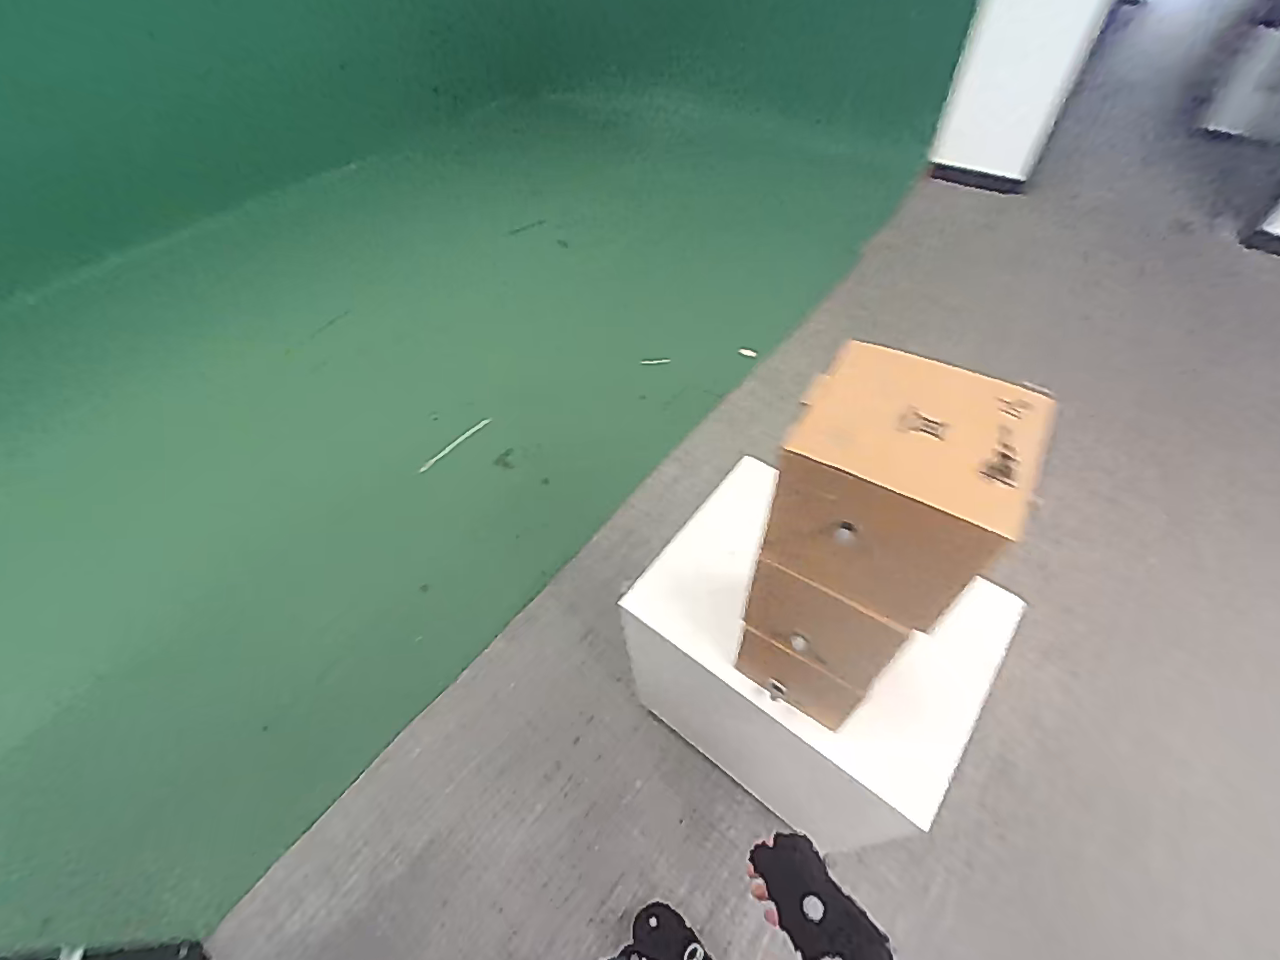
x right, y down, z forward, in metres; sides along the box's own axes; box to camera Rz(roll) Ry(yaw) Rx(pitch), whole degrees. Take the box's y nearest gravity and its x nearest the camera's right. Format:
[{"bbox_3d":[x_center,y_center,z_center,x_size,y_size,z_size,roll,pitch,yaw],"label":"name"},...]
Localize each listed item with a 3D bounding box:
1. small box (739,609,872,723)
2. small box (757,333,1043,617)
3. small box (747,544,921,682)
[{"bbox_3d":[0.246,0.203,0.754,0.168,0.176,0.179,26,60,24],"label":"small box"},{"bbox_3d":[0.222,-0.002,0.499,0.179,0.176,0.168,24,58,23],"label":"small box"},{"bbox_3d":[0.235,0.097,0.629,0.168,0.176,0.179,24,56,22],"label":"small box"}]
